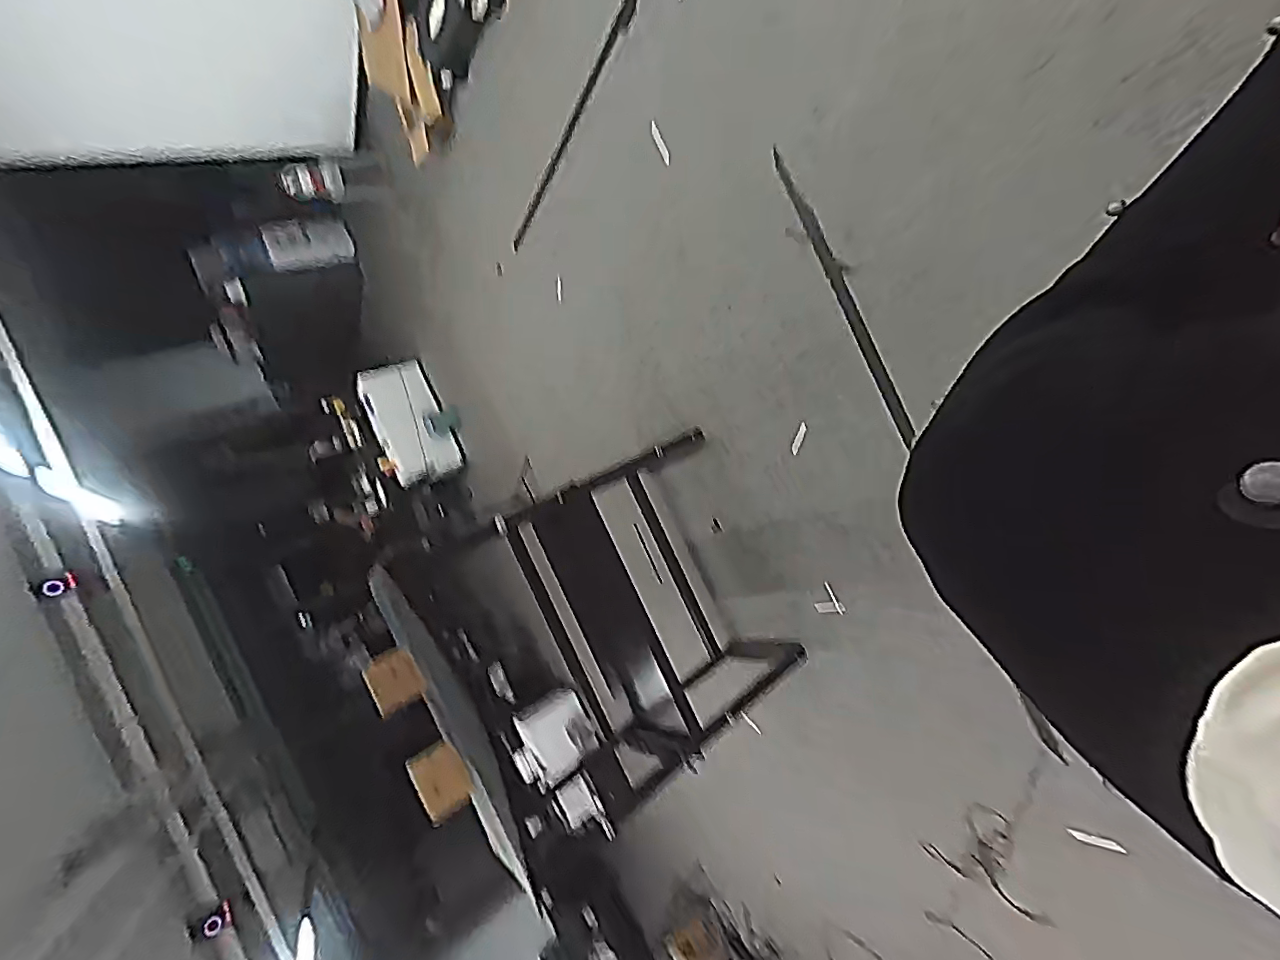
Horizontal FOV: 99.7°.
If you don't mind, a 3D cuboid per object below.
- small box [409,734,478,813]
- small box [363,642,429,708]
[{"bbox_3d":[-0.725,1.073,1.995,0.168,0.176,0.179,-23,93,58],"label":"small box"},{"bbox_3d":[-0.898,0.711,1.991,0.179,0.176,0.168,-28,87,58],"label":"small box"}]
